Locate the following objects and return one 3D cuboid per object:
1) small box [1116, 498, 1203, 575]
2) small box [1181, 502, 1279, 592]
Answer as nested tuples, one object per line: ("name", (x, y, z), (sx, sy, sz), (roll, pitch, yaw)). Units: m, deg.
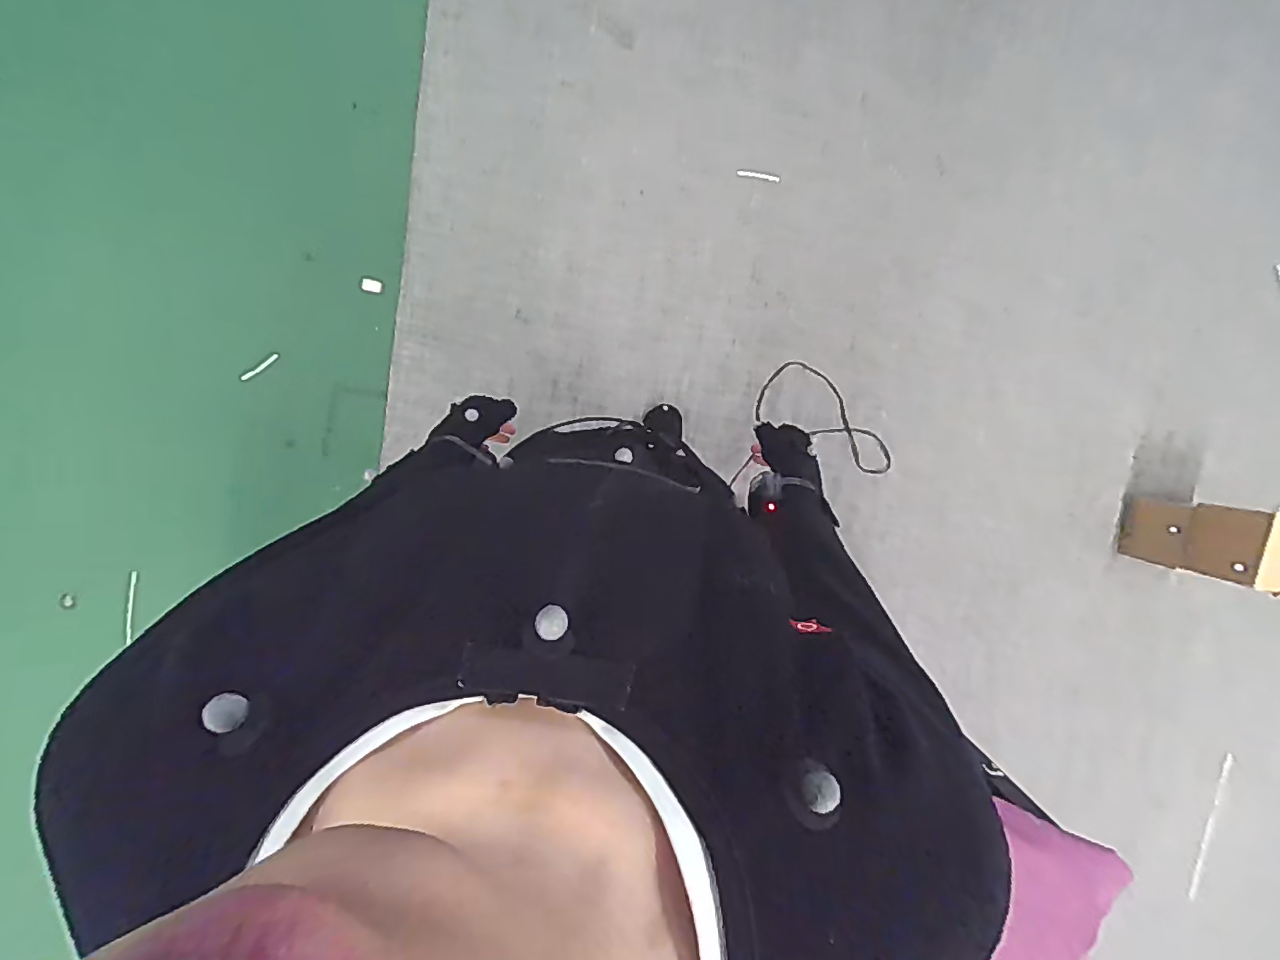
("small box", (1.417, 0.147, 1.412), (0.179, 0.176, 0.168), (8, 96, -2))
("small box", (1.421, 0.154, 1.248), (0.168, 0.176, 0.179), (8, 97, -1))
